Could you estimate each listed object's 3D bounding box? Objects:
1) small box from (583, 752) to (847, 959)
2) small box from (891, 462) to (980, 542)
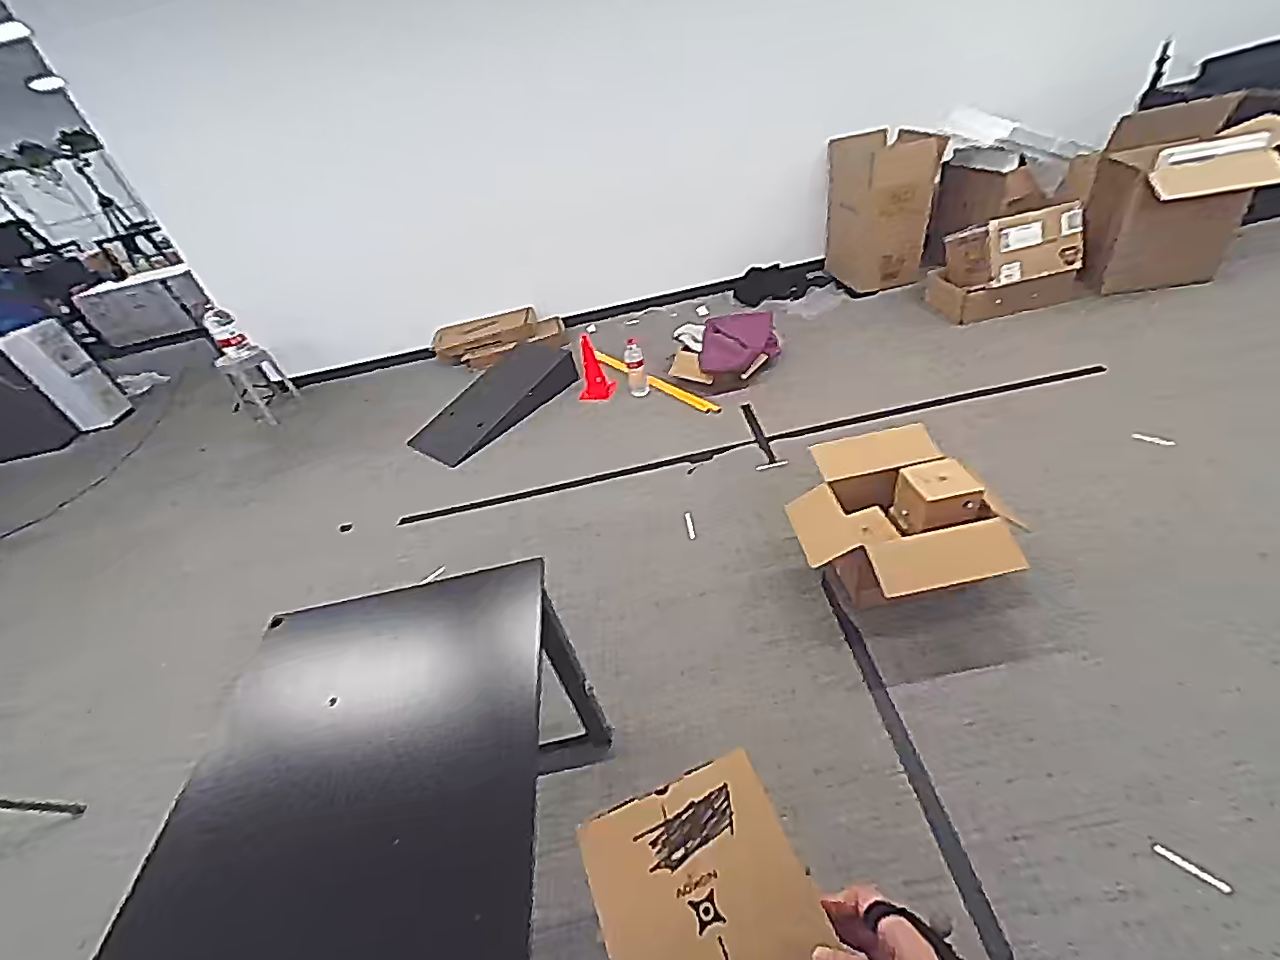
[{"bbox_3d":[0.063,0.388,0.489,0.168,0.176,0.179,-21,47,-8],"label":"small box"},{"bbox_3d":[0.916,0.071,1.695,0.179,0.176,0.168,-13,38,-1],"label":"small box"}]
